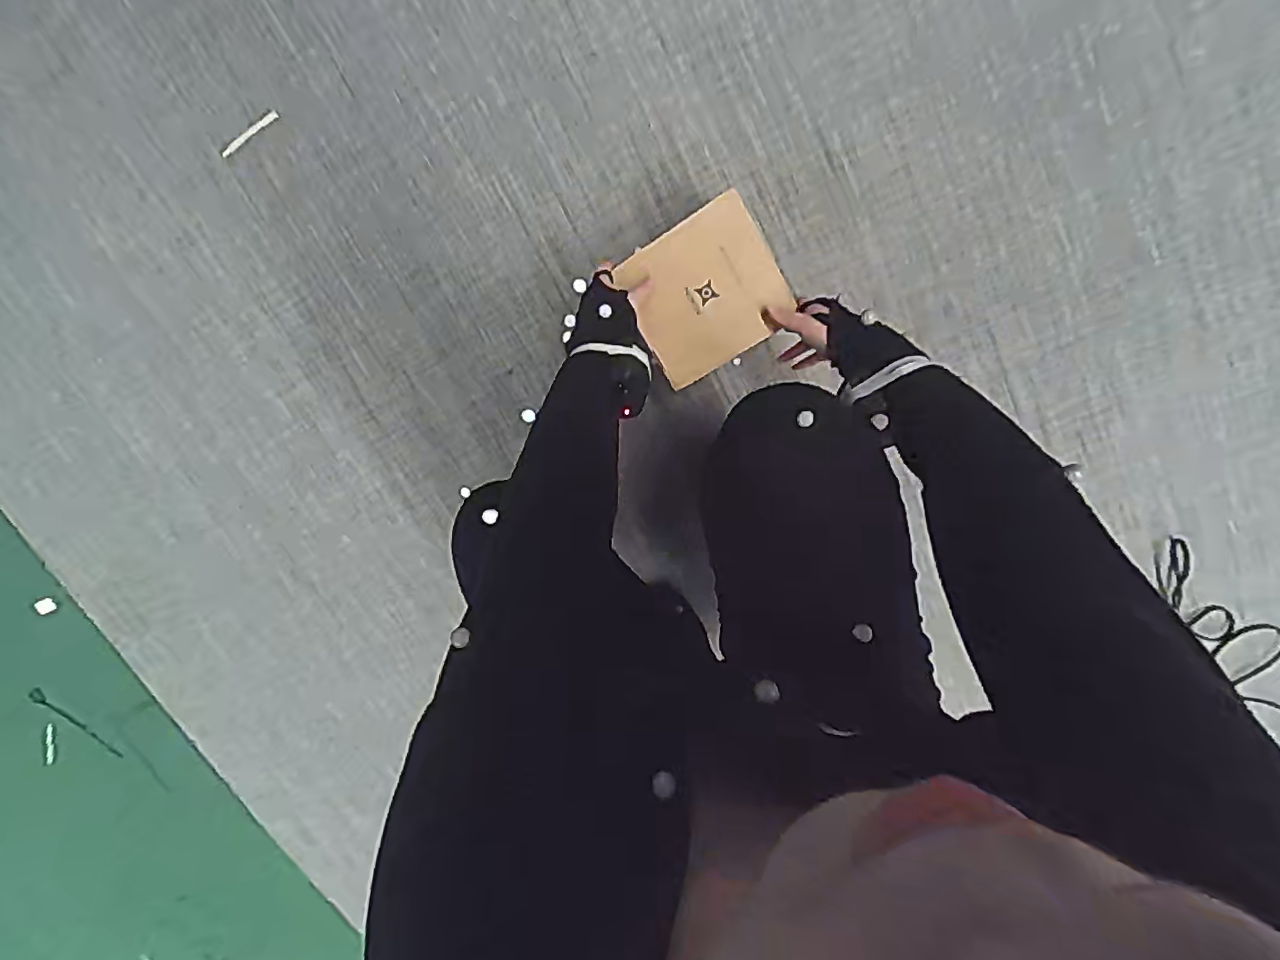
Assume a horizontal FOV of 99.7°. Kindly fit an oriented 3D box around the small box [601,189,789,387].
[{"bbox_3d":[0.075,-0.245,0.720,0.179,0.176,0.168,-29,103,14],"label":"small box"}]
